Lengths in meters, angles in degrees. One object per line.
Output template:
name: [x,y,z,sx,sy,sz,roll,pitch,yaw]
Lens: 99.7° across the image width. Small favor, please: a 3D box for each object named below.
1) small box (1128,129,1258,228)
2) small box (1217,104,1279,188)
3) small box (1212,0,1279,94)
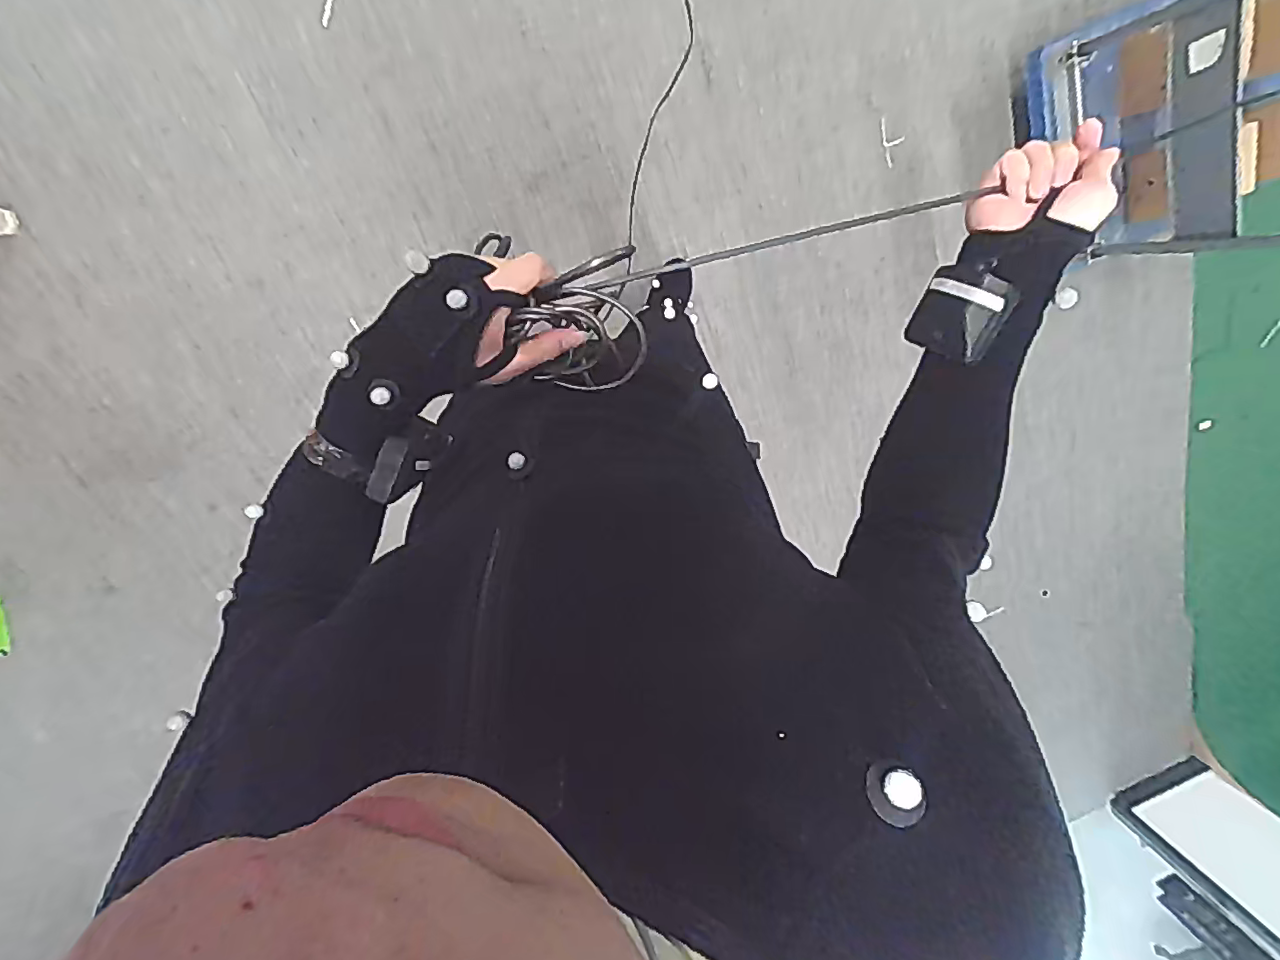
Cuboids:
small box: [1.431,-0.776,1.408,0.179,0.176,0.168,-22,110,-2]
small box: [1.679,-0.884,1.417,0.179,0.176,0.168,-27,110,0]
small box: [1.570,-1.094,1.329,0.179,0.176,0.168,-27,111,-1]
